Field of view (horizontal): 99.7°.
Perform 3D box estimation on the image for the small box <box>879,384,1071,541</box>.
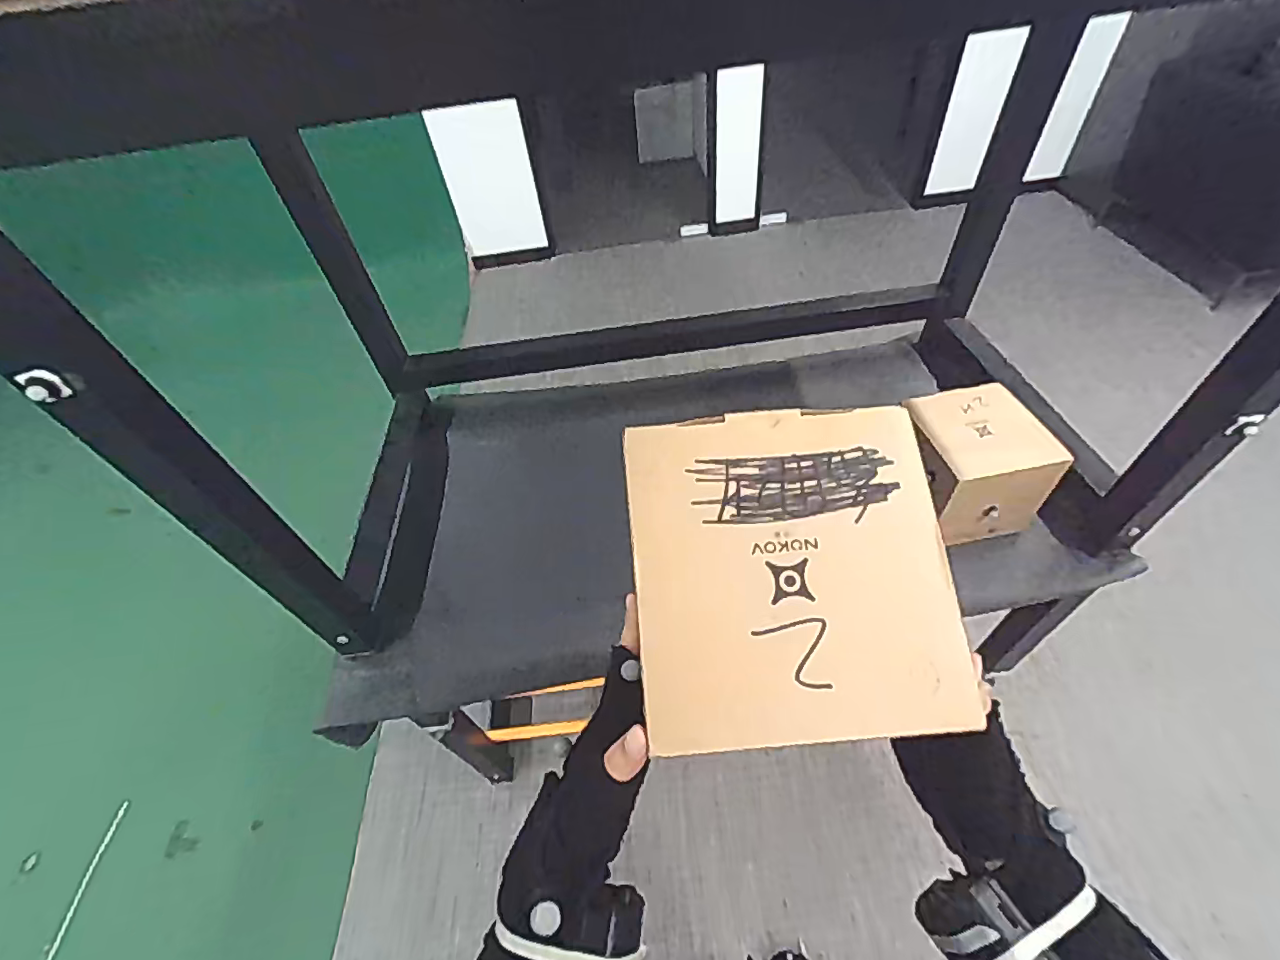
[{"bbox_3d":[0.506,-0.021,0.850,0.168,0.176,0.179,-10,48,-2],"label":"small box"}]
